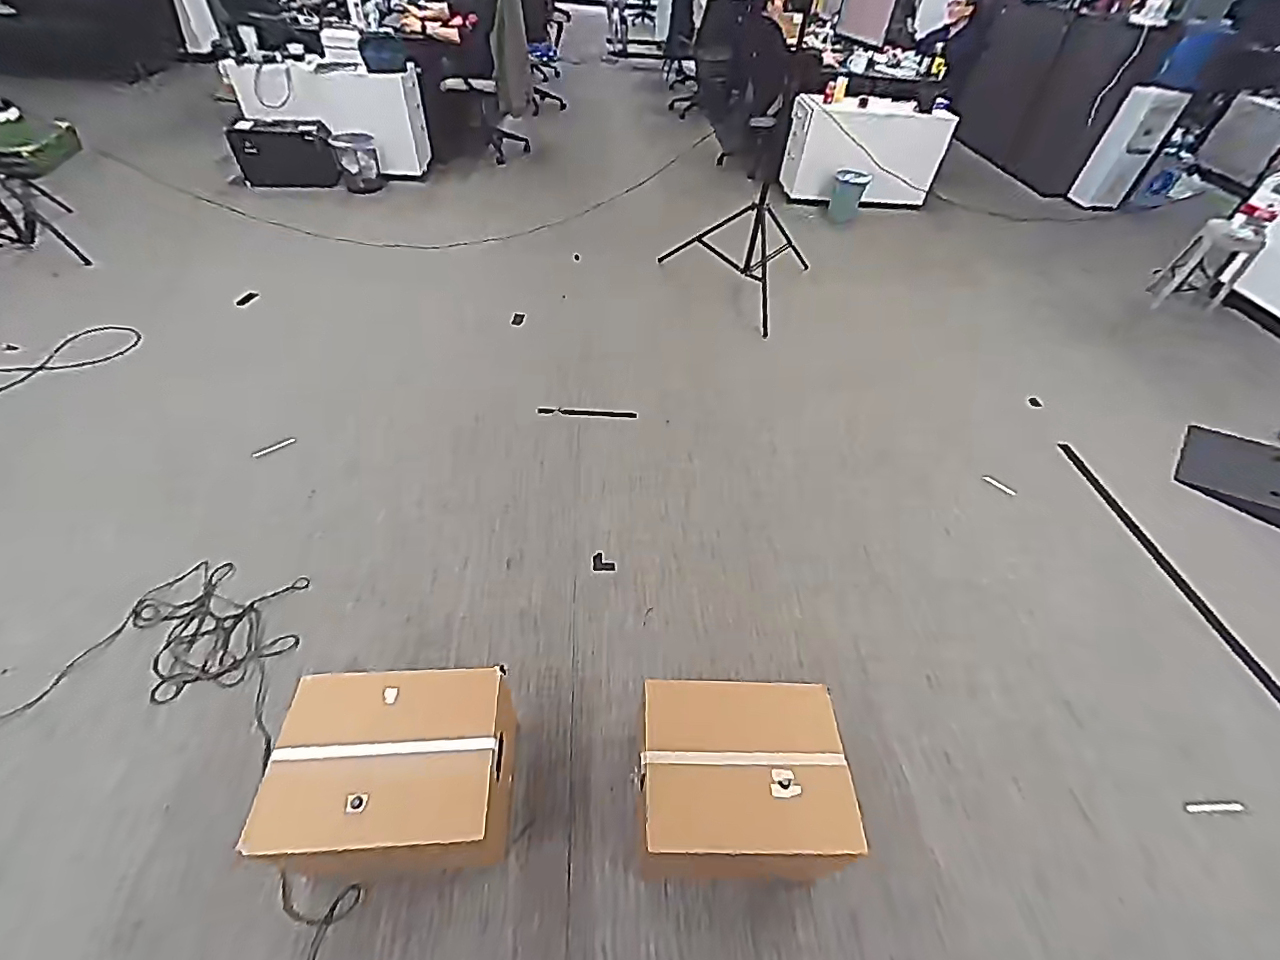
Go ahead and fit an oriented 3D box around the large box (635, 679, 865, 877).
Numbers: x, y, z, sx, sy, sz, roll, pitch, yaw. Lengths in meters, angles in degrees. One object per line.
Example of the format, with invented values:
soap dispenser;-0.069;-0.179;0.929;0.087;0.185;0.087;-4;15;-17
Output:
large box;0.201;0.654;1.183;0.408;0.320;0.320;3;47;-4
